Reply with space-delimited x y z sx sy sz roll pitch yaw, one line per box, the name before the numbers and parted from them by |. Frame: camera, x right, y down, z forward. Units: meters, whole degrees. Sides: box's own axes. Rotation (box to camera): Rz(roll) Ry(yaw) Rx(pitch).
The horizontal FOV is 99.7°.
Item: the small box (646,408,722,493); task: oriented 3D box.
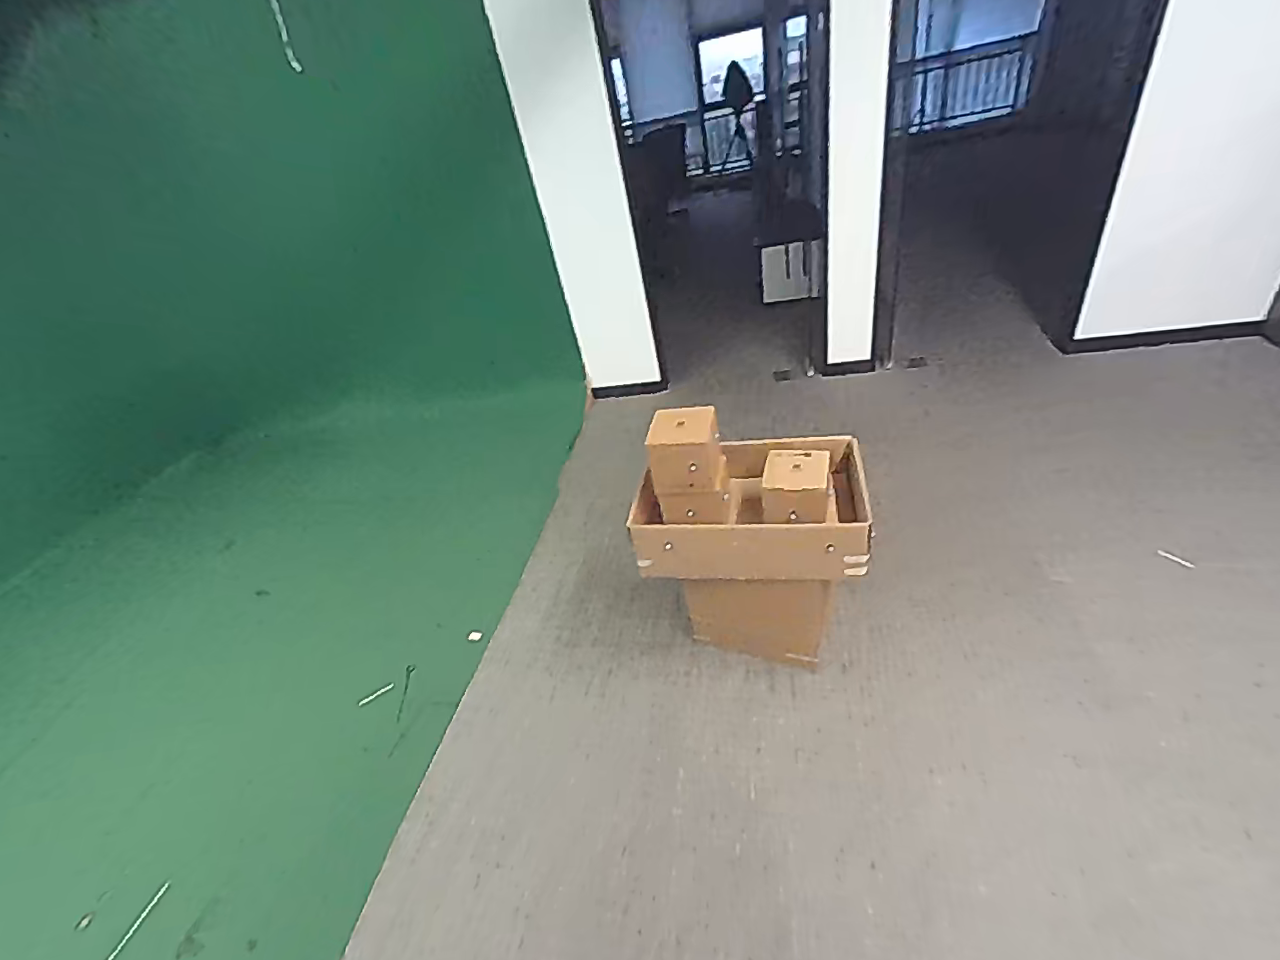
small box | 0.128 -0.077 1.479 0.168 0.176 0.179 -2 36 17
